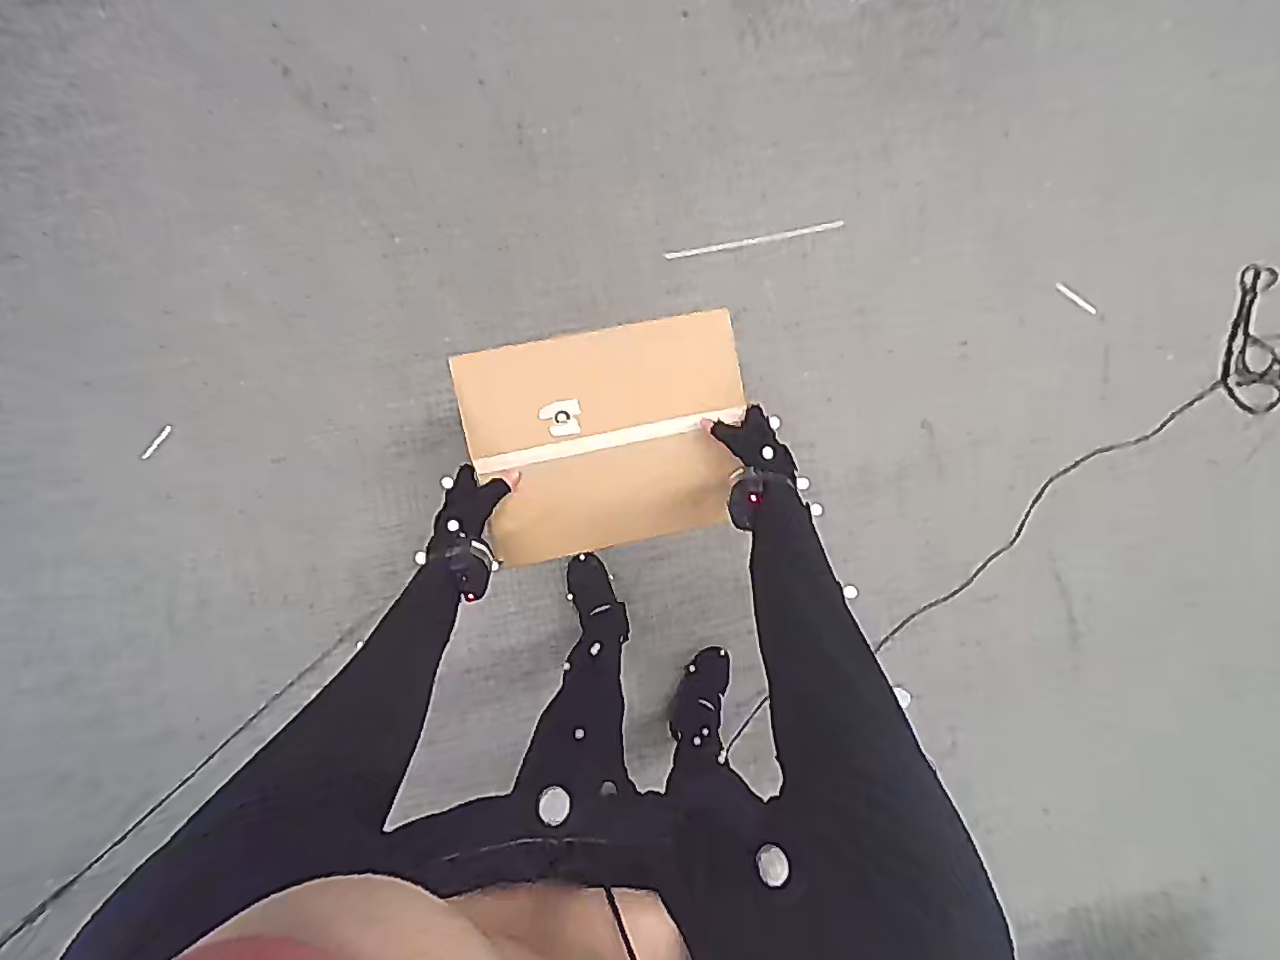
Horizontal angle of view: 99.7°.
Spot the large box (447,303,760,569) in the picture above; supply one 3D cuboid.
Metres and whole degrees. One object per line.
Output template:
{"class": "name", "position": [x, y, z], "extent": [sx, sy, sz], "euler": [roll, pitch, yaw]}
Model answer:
{"class": "large box", "position": [-0.055, -0.082, 0.918], "extent": [0.408, 0.320, 0.320], "euler": [-12, 98, -4]}
